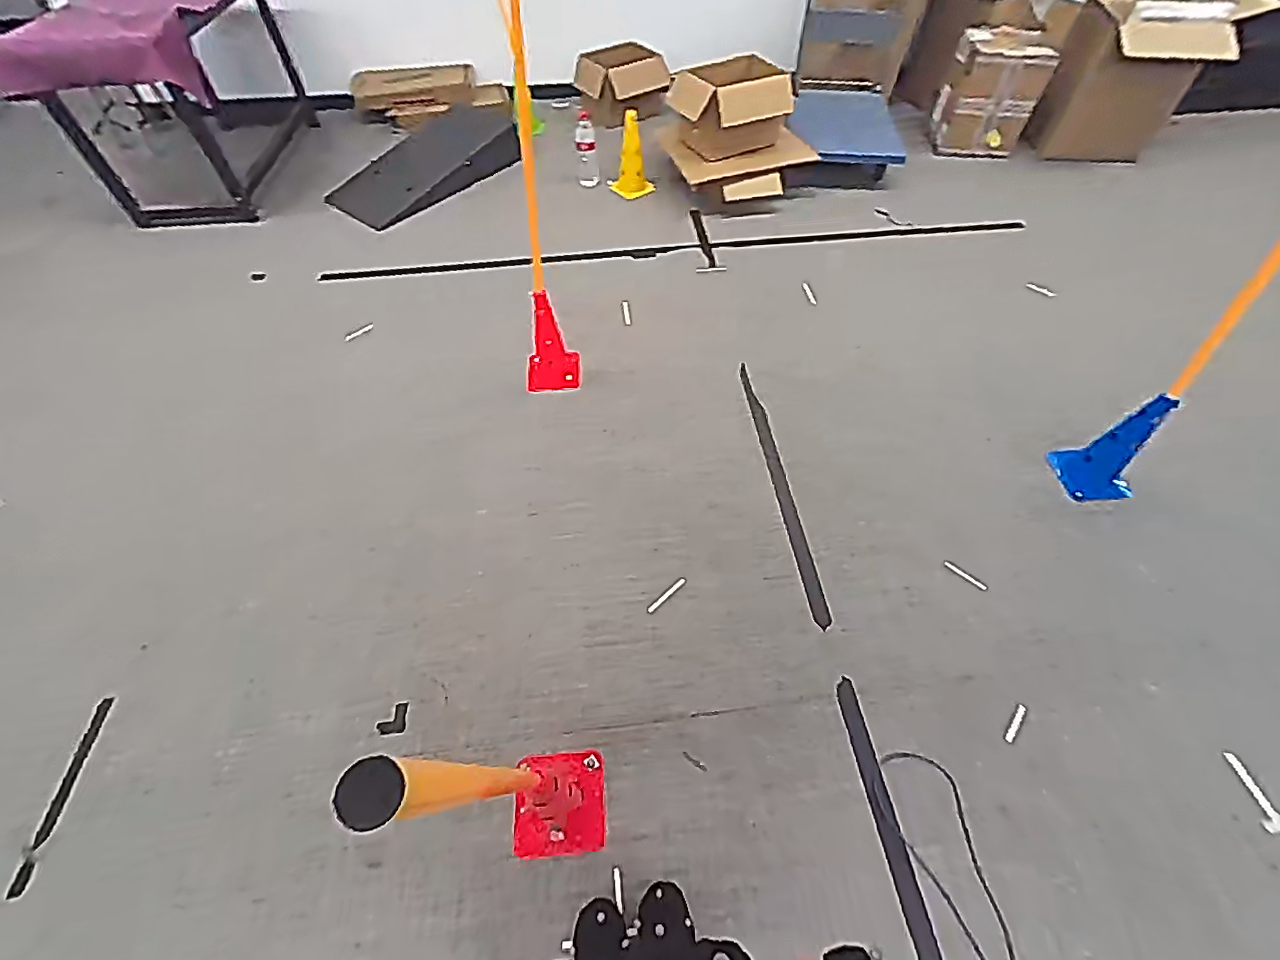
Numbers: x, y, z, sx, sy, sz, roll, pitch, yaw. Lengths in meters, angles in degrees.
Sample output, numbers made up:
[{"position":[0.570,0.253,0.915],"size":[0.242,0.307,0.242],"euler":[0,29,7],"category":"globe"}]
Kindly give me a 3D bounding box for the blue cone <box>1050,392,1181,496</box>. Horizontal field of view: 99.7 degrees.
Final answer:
[{"position":[1.450,-0.126,1.619],"size":[0.193,0.380,0.192],"euler":[-3,54,-1],"category":"blue cone"}]

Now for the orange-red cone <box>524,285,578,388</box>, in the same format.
[{"position":[-0.334,-0.517,1.893],"size":[0.198,0.360,0.199],"euler":[-3,53,-2],"category":"orange-red cone"}]
